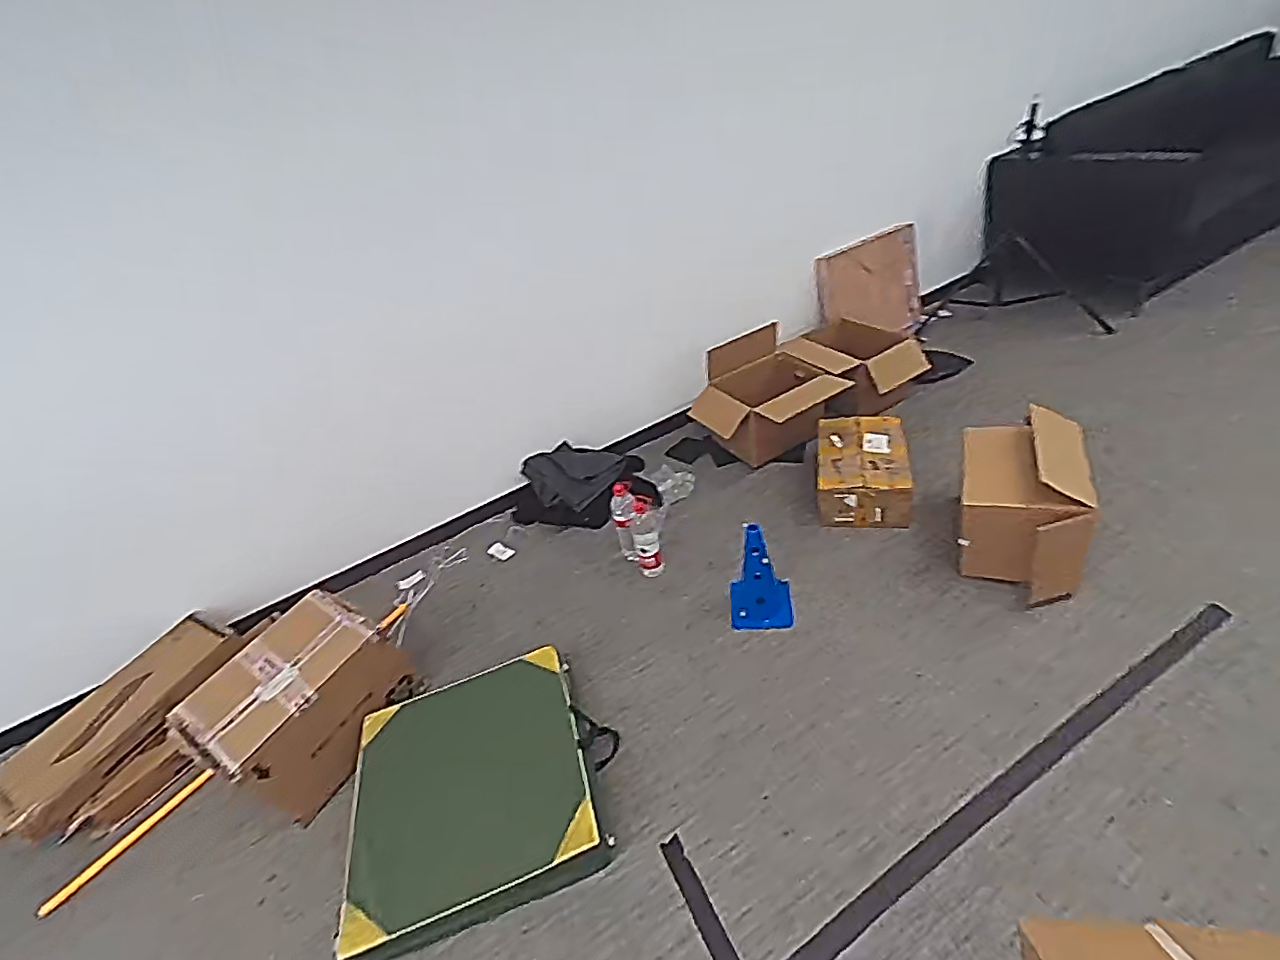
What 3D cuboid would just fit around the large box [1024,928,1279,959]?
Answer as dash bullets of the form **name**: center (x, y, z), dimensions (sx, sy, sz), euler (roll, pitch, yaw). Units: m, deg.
- **large box**: center (0.626, 0.723, 0.487), dimensions (0.320, 0.320, 0.408), euler (-6, -4, 12)
